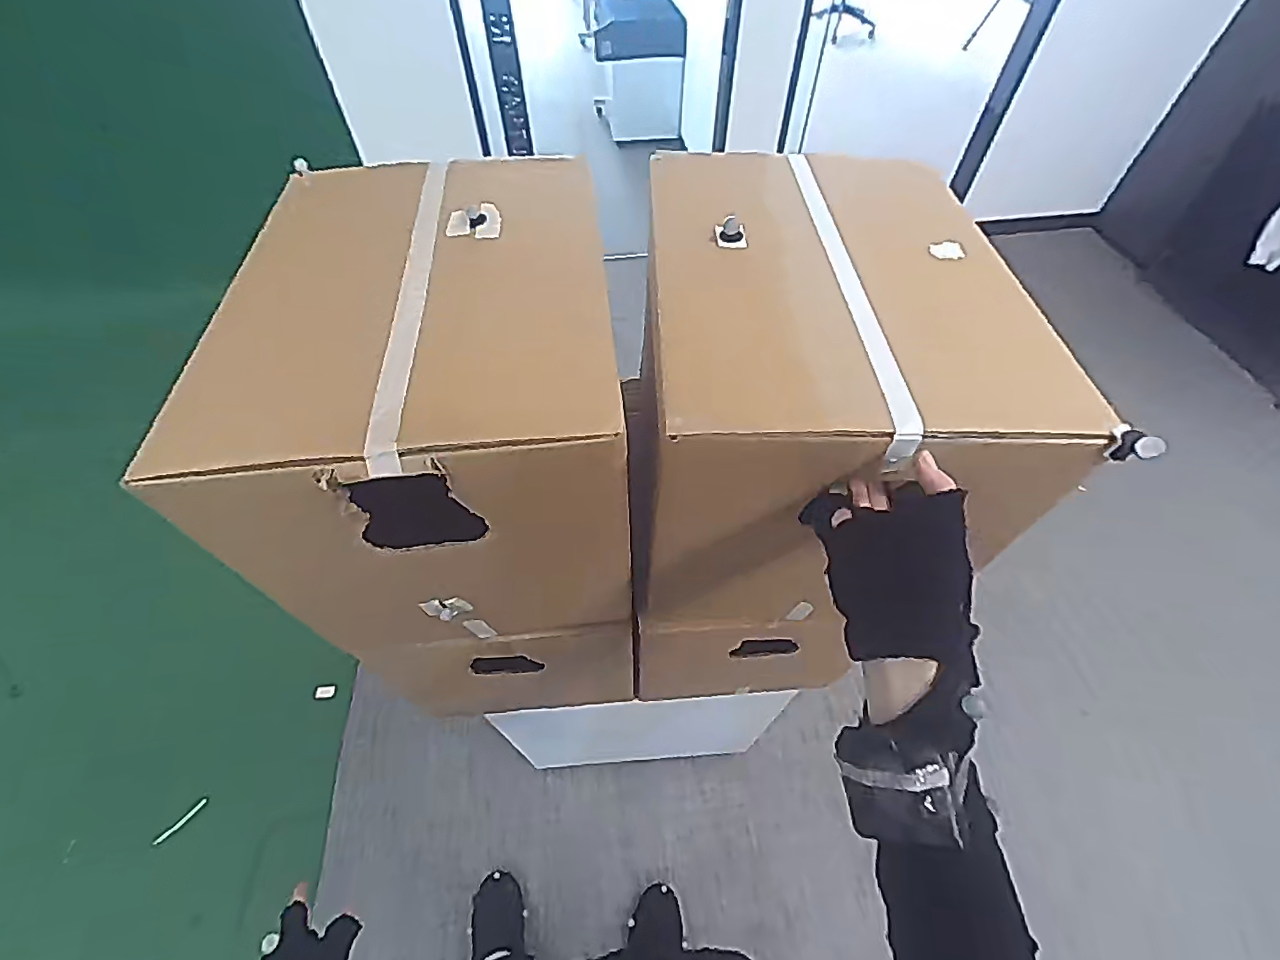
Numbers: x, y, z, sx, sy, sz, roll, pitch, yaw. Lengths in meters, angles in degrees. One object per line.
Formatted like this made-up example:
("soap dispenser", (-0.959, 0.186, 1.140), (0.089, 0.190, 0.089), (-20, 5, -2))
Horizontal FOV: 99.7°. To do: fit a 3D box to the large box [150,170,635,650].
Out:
("large box", (-0.184, -0.078, 0.585), (0.320, 0.320, 0.408), (-5, 52, -4))
